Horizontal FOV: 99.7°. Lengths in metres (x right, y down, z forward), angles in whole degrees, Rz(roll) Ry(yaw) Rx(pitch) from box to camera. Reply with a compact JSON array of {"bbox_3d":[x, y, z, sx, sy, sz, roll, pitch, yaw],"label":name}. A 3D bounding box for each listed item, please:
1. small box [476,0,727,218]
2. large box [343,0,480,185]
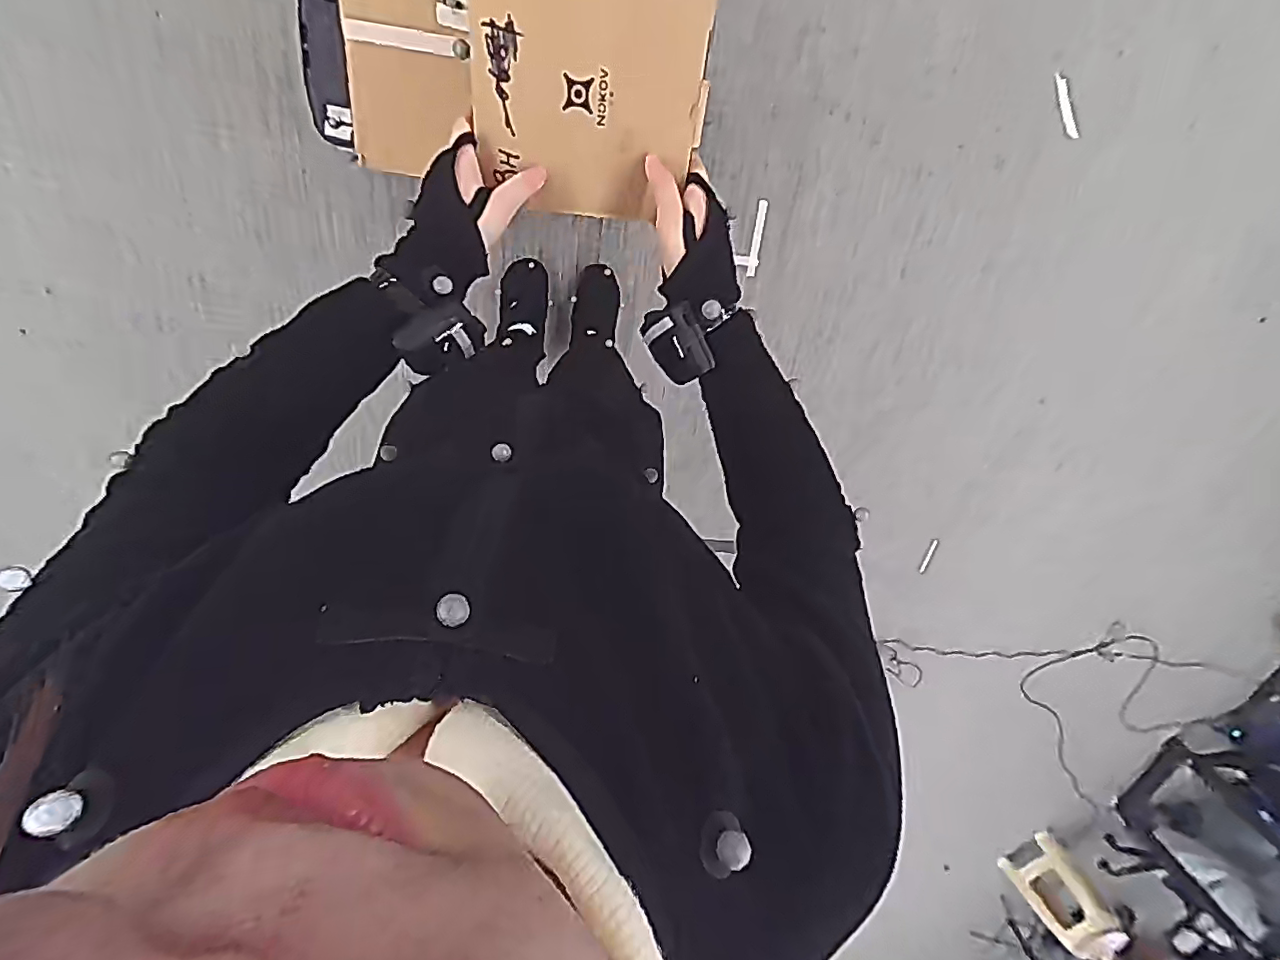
[{"bbox_3d":[-0.044,-0.339,0.467,0.179,0.176,0.168,2,124,-11],"label":"small box"},{"bbox_3d":[-0.194,-0.634,0.845,0.408,0.320,0.320,3,117,-10],"label":"large box"}]
